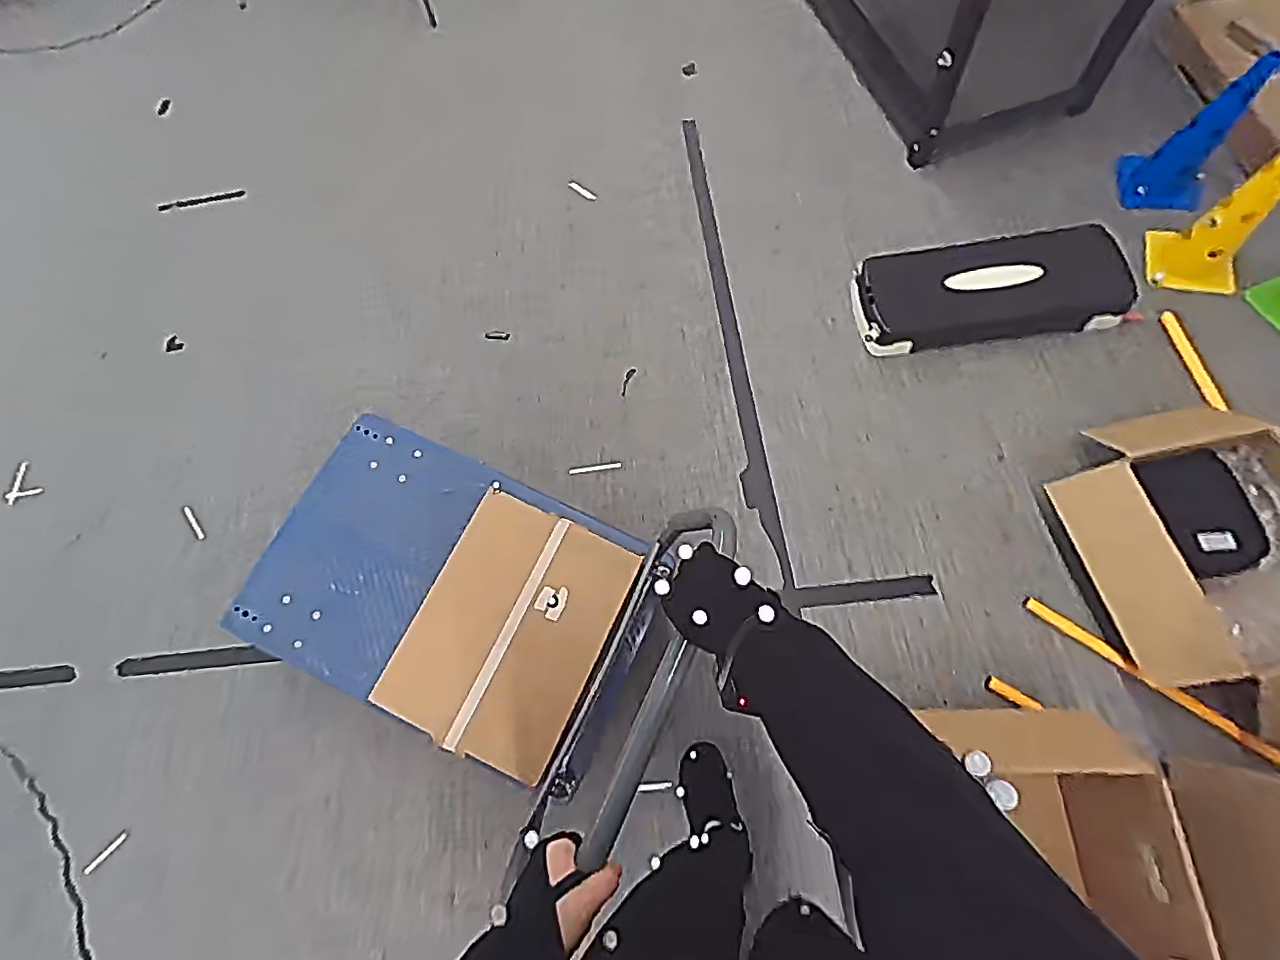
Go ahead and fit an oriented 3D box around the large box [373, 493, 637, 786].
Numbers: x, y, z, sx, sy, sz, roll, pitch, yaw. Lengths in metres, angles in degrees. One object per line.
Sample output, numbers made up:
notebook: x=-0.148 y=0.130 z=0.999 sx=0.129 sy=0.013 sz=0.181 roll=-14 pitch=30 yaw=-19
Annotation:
large box: x=-0.223 y=0.299 z=1.056 sx=0.320 sy=0.320 sz=0.408 roll=24 pitch=73 yaw=6
